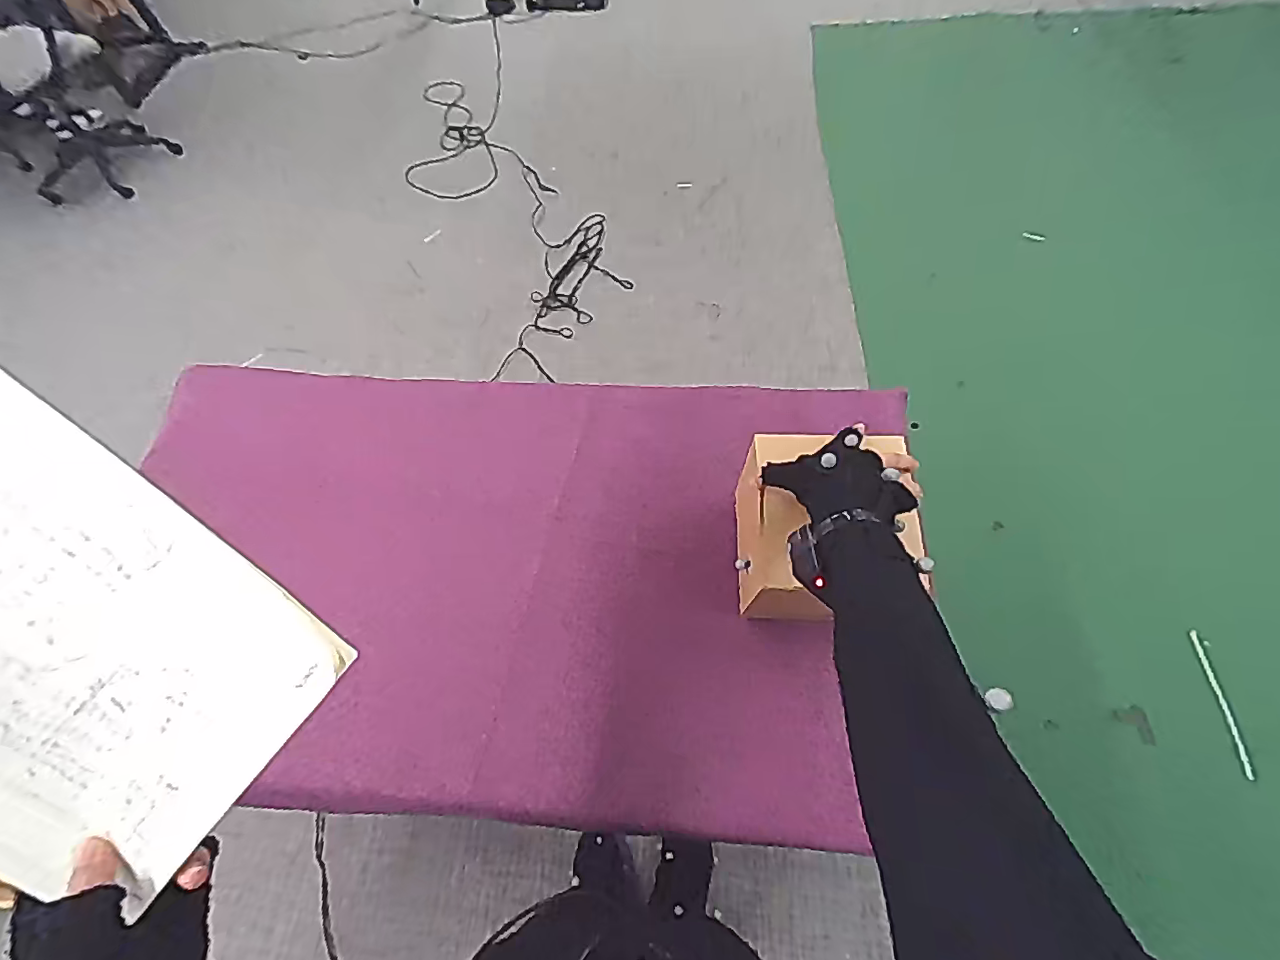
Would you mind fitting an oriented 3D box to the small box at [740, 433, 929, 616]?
[{"bbox_3d":[0.212,0.060,0.639,0.168,0.176,0.179,2,66,3],"label":"small box"}]
